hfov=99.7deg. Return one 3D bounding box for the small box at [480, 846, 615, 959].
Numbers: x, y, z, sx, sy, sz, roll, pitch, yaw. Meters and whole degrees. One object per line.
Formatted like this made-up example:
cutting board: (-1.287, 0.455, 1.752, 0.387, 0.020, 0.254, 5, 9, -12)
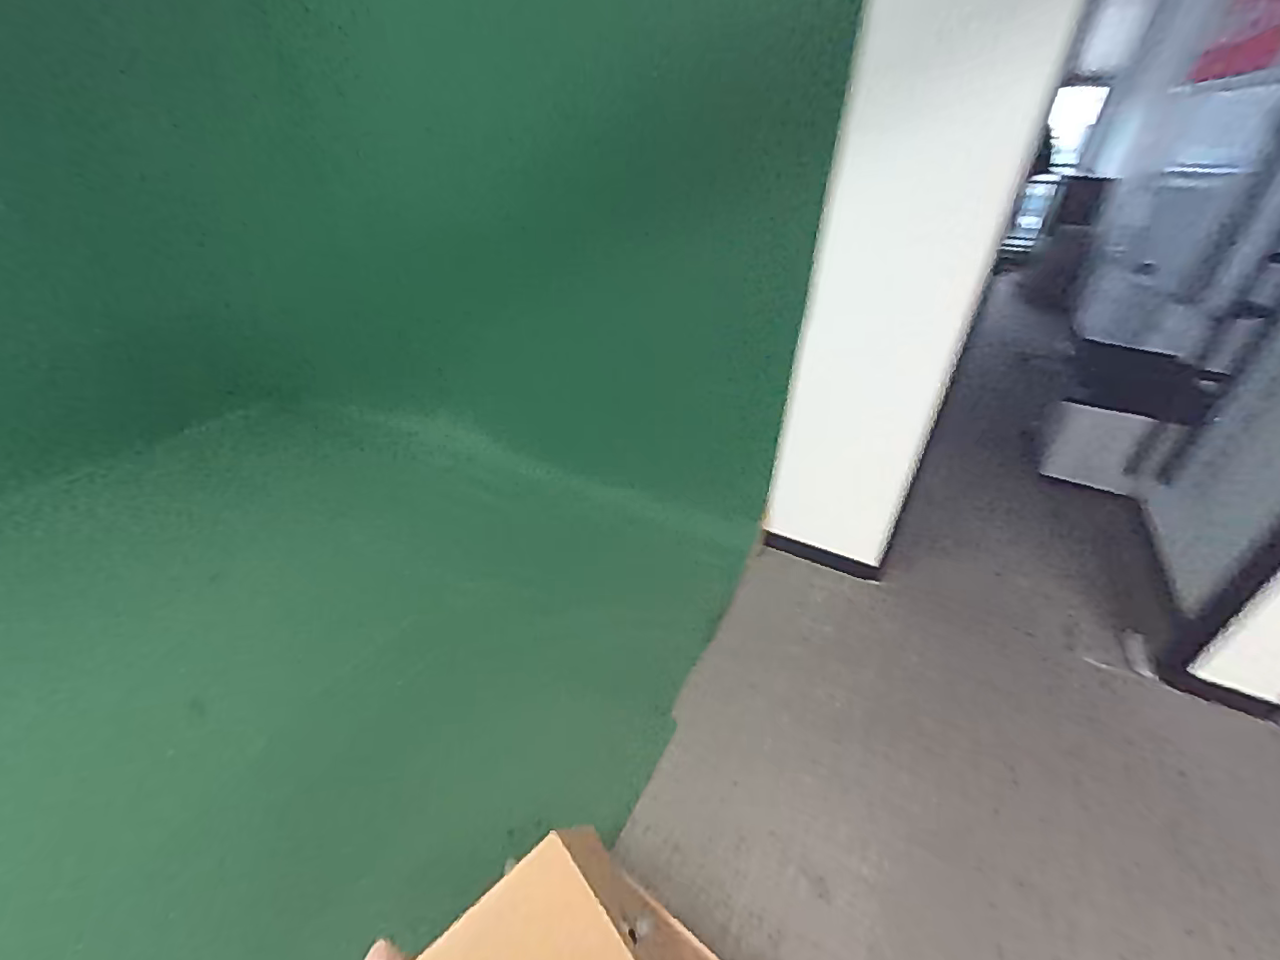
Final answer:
small box: (-0.164, 0.828, 0.981, 0.168, 0.176, 0.179, 28, 44, 31)
